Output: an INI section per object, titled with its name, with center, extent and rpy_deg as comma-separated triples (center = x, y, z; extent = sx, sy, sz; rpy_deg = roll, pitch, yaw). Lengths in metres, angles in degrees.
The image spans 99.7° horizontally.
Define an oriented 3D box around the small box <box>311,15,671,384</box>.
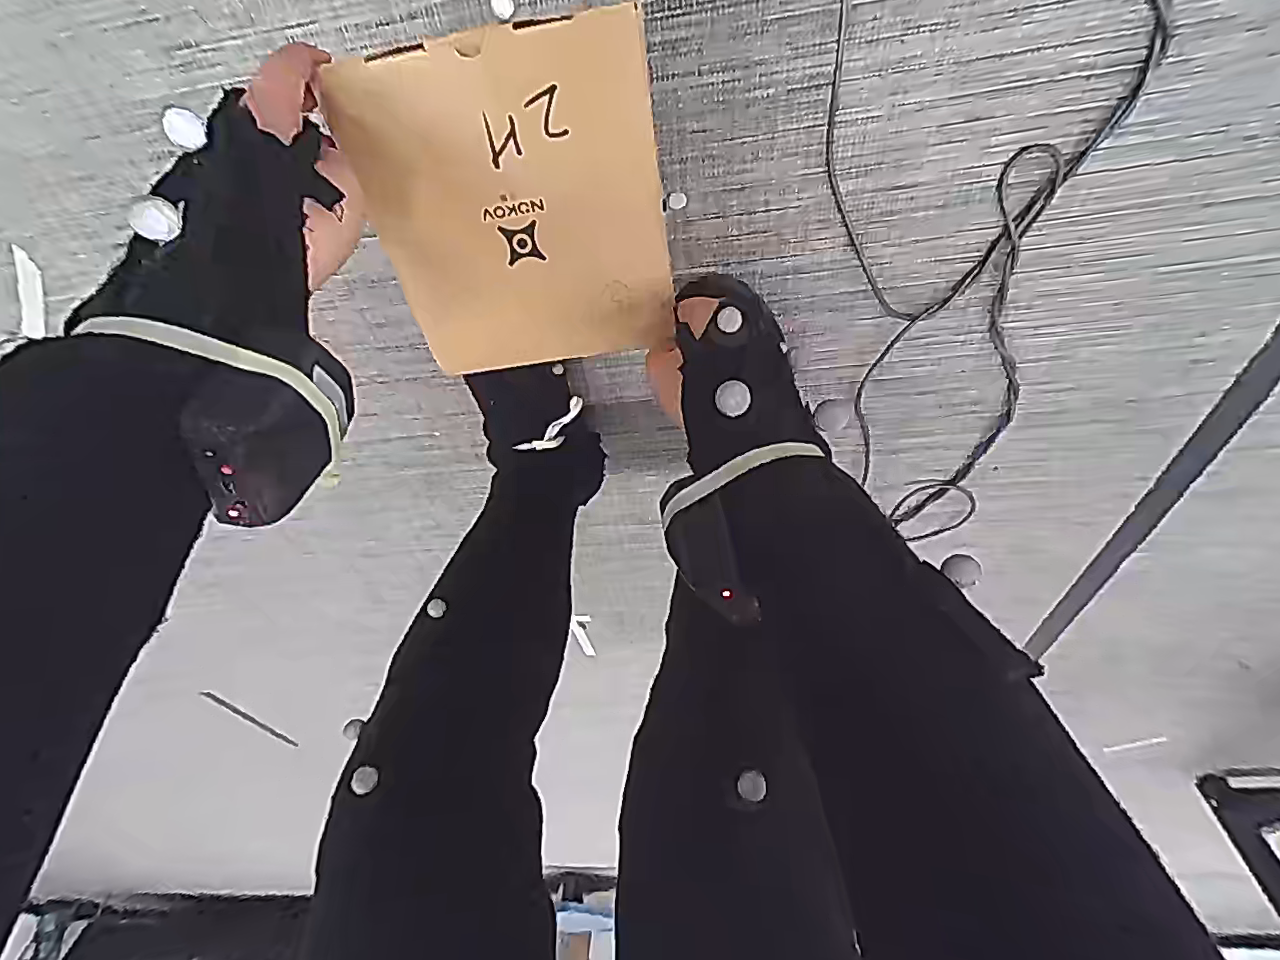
[small box]
center = -0.071, -0.192, 0.372
extent = 0.168, 0.176, 0.179
rpy_deg = -8, 131, 4
